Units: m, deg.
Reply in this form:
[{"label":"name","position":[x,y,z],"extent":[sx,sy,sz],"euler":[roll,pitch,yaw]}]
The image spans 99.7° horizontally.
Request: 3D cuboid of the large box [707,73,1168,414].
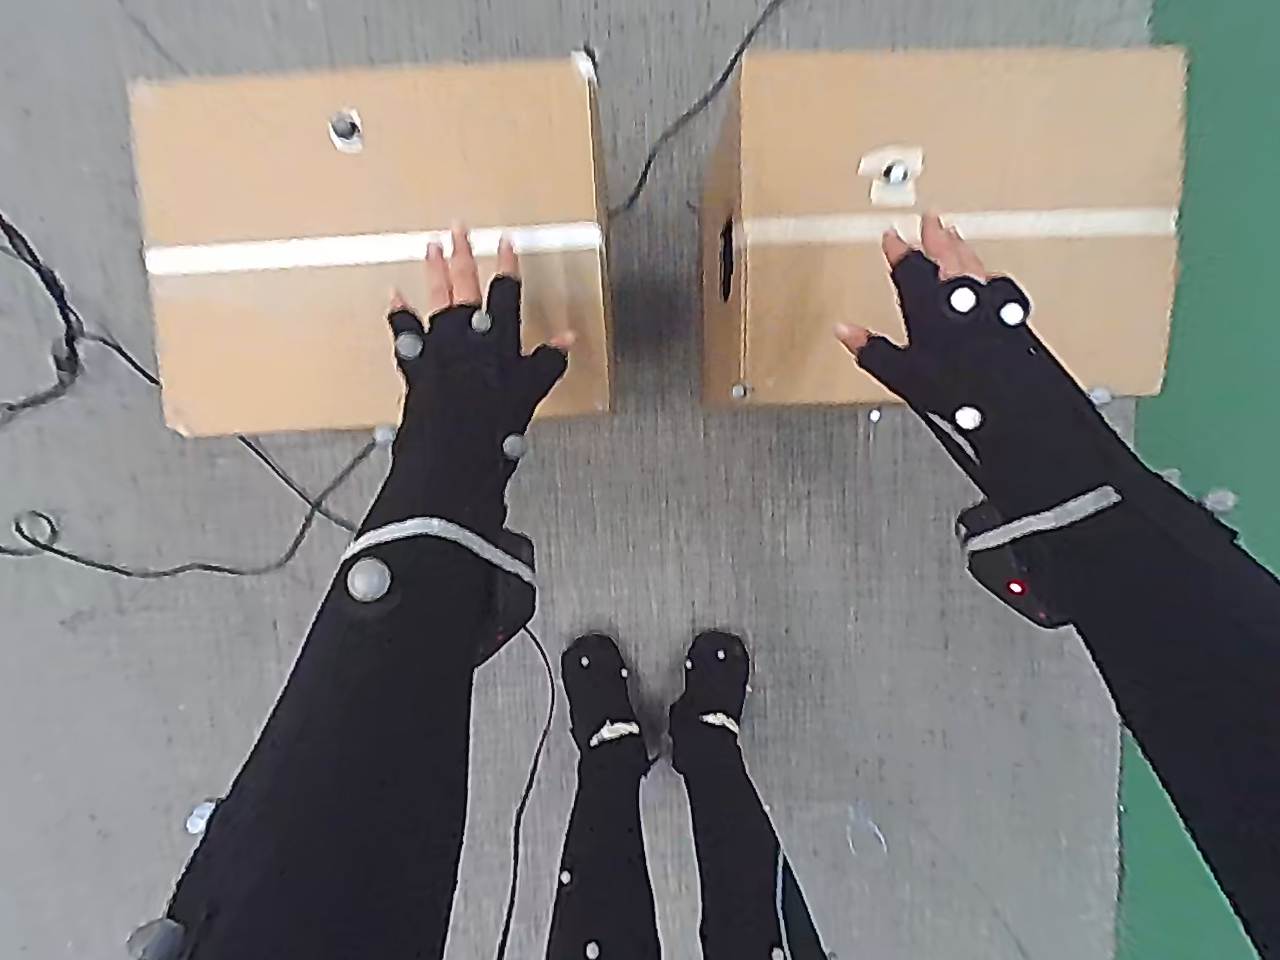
[{"label":"large box","position":[0.302,-0.243,0.672],"extent":[0.408,0.320,0.320],"euler":[-1,96,0]}]
